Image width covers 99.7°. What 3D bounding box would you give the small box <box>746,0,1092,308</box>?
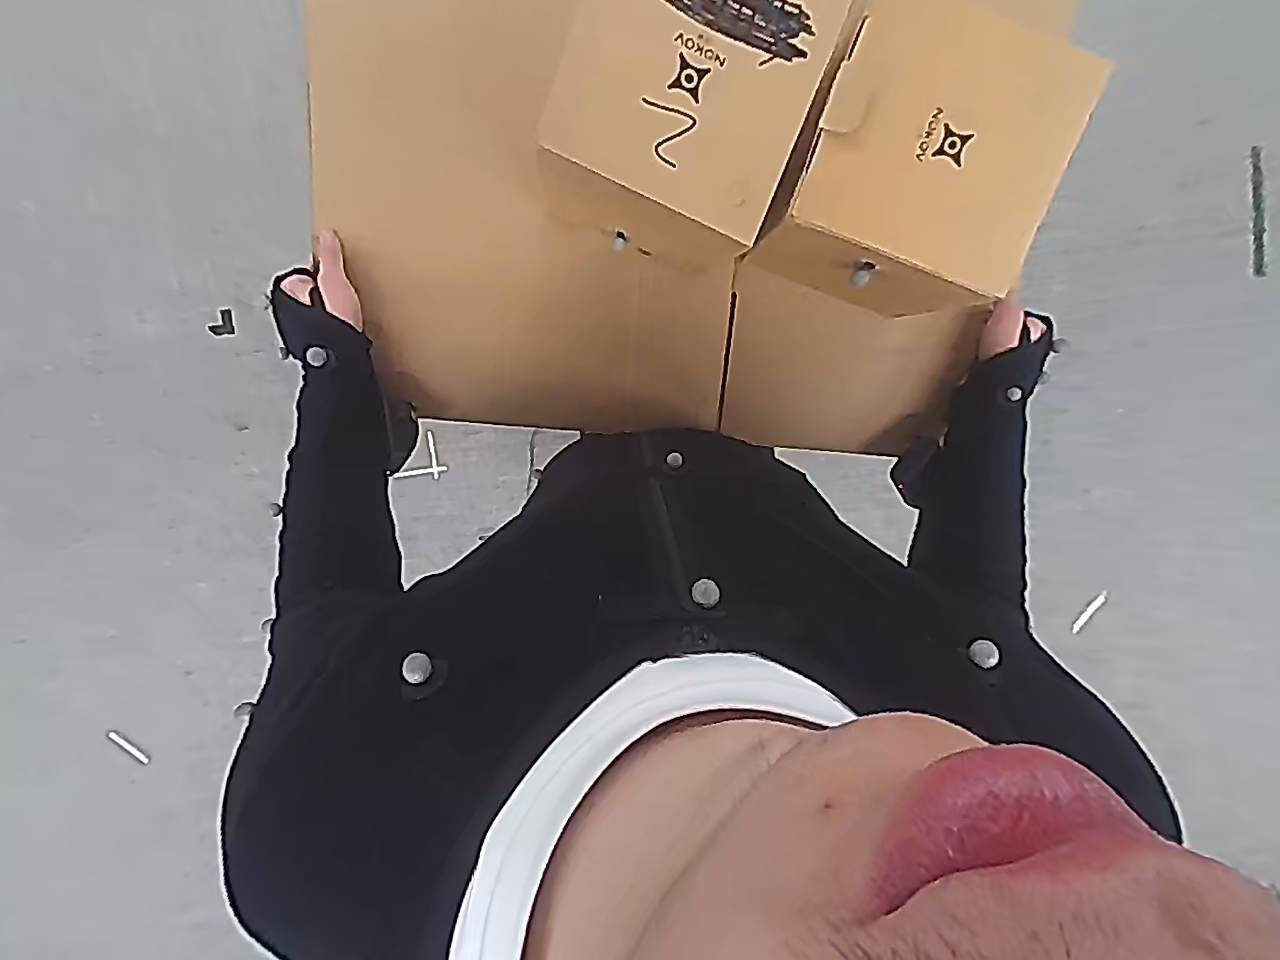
[{"bbox_3d":[0.214,-0.259,0.470,0.179,0.176,0.168,18,99,-5],"label":"small box"}]
